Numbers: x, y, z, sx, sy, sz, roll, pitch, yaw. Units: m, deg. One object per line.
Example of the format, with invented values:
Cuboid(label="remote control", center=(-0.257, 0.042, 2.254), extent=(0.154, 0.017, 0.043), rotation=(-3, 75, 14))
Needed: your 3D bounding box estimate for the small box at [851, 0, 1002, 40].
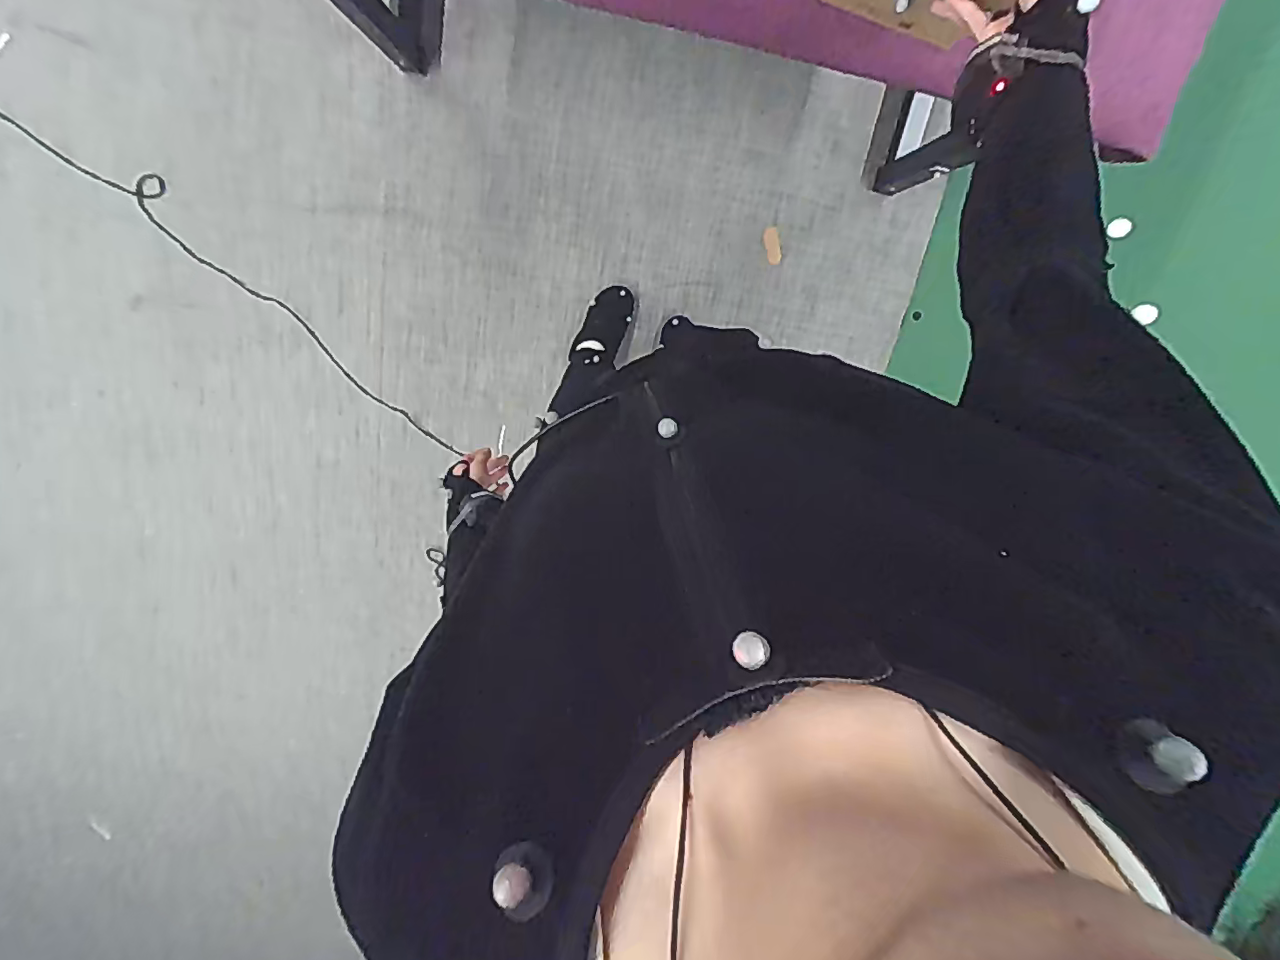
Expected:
Cuboid(label="small box", center=(0.296, -0.554, 0.498), extent=(0.168, 0.176, 0.179), rotation=(16, 113, -7))
